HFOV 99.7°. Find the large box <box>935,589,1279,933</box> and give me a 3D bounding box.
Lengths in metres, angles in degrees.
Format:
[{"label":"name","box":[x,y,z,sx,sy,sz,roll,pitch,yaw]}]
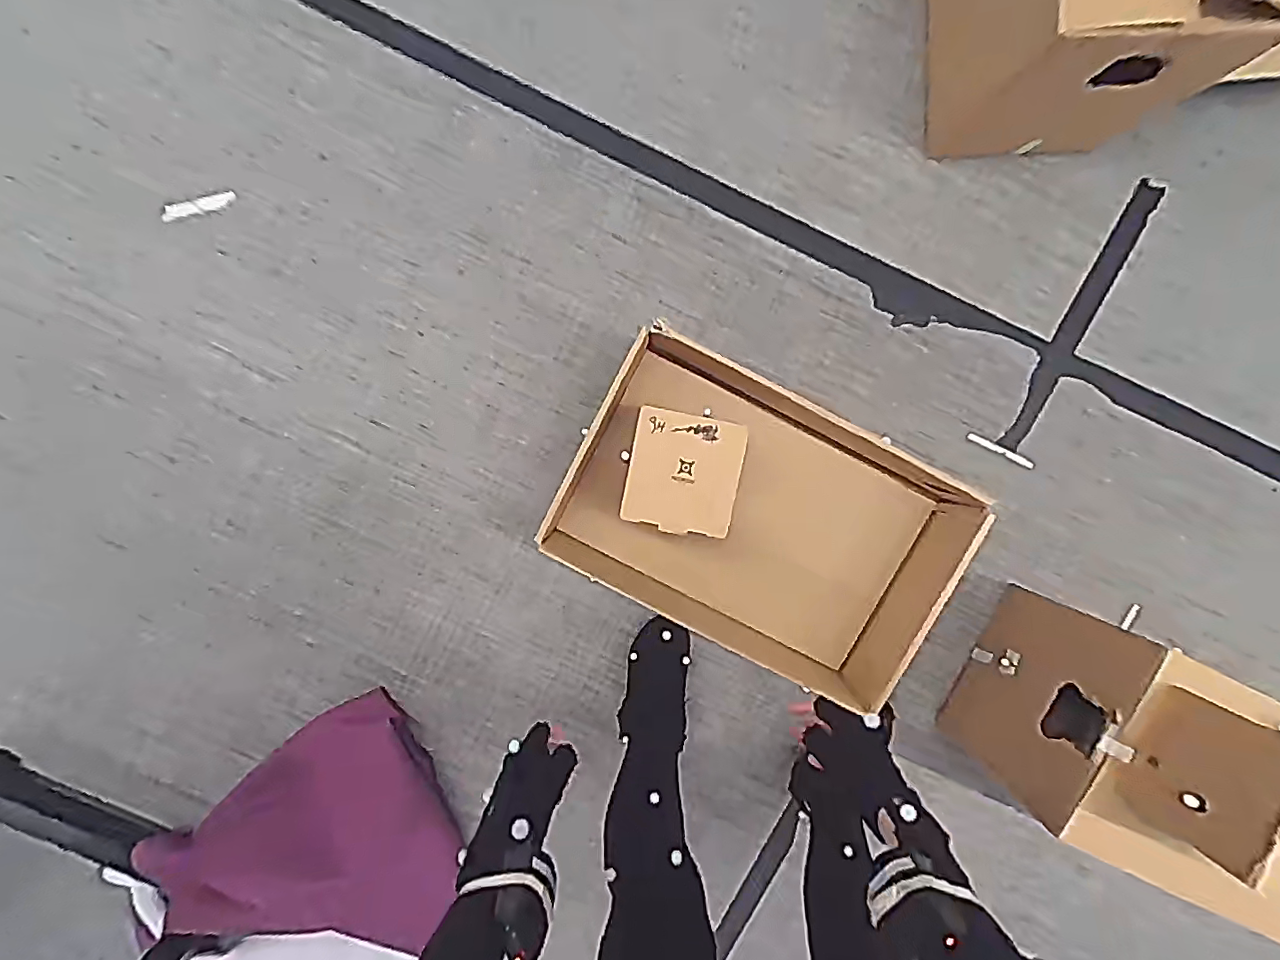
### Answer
[{"label":"large box","box":[0.815,0.432,0.912,0.408,0.320,0.320,25,95,-4]}]
